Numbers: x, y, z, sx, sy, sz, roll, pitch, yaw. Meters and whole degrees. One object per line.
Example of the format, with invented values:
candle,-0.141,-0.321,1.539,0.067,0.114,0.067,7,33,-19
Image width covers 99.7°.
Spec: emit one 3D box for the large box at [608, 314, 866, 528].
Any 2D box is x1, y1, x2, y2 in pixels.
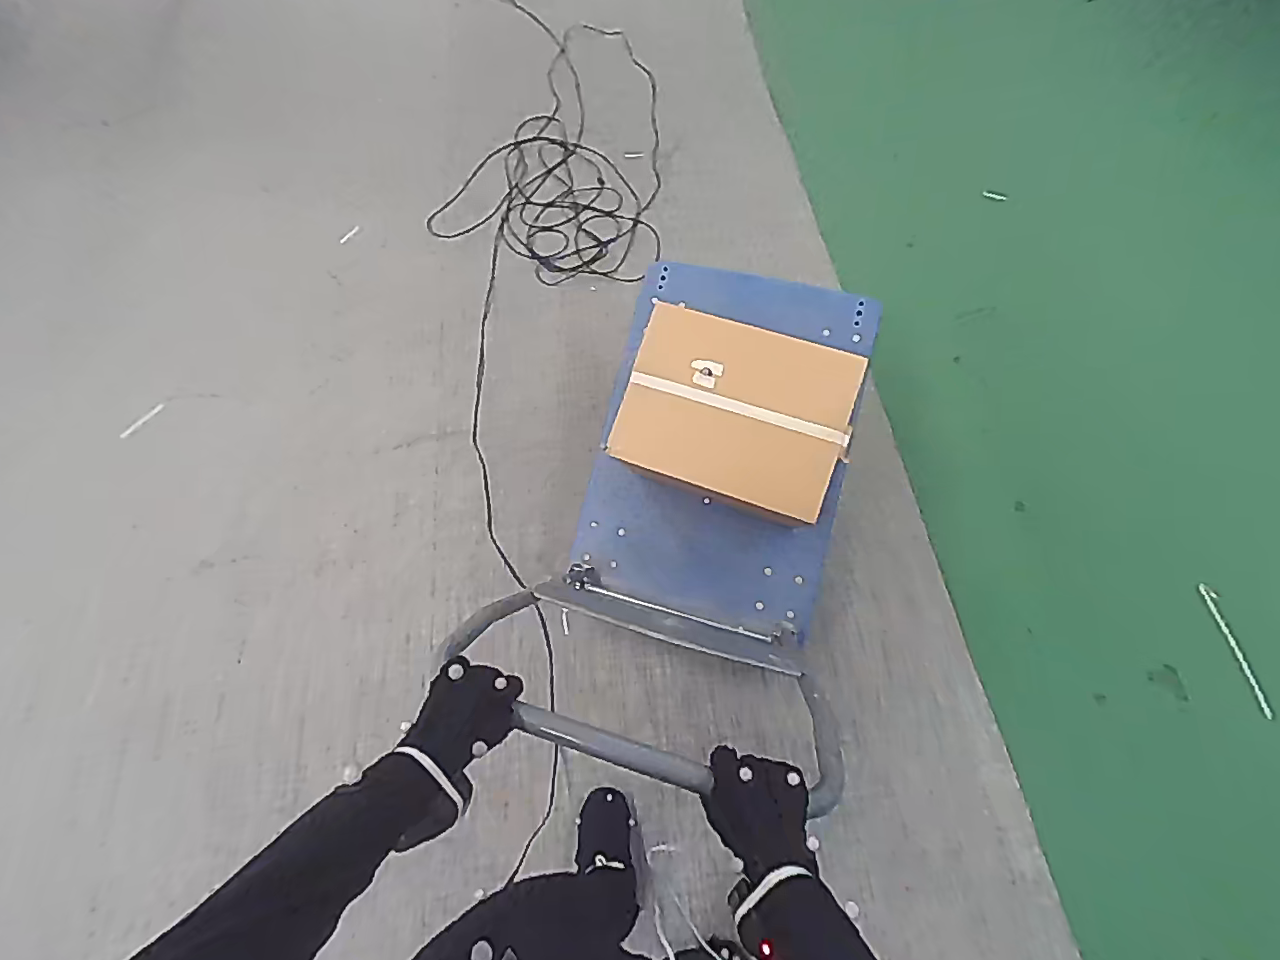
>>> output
large box,0.200,-0.102,1.129,0.408,0.320,0.320,18,87,12
